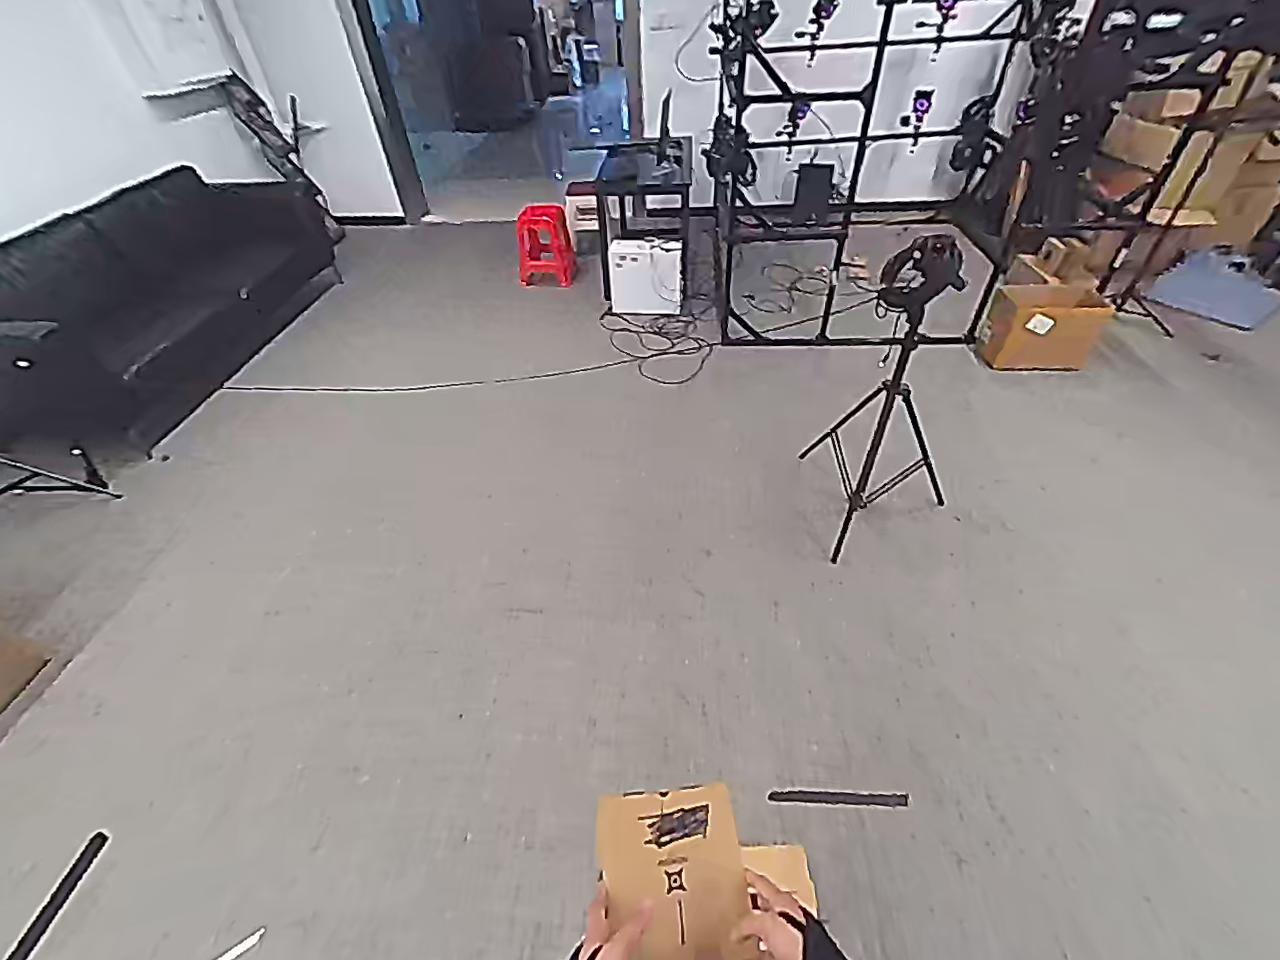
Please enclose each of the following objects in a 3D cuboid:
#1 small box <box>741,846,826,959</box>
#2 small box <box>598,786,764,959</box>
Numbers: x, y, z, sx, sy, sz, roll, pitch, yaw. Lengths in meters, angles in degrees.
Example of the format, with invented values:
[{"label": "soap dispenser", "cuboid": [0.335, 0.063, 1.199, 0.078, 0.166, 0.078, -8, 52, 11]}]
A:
[{"label": "small box", "cuboid": [0.263, 0.872, 1.108, 0.179, 0.176, 0.168, -3, 43, 2]}, {"label": "small box", "cuboid": [0.036, 0.513, 0.678, 0.168, 0.176, 0.179, -2, 46, -9]}]
